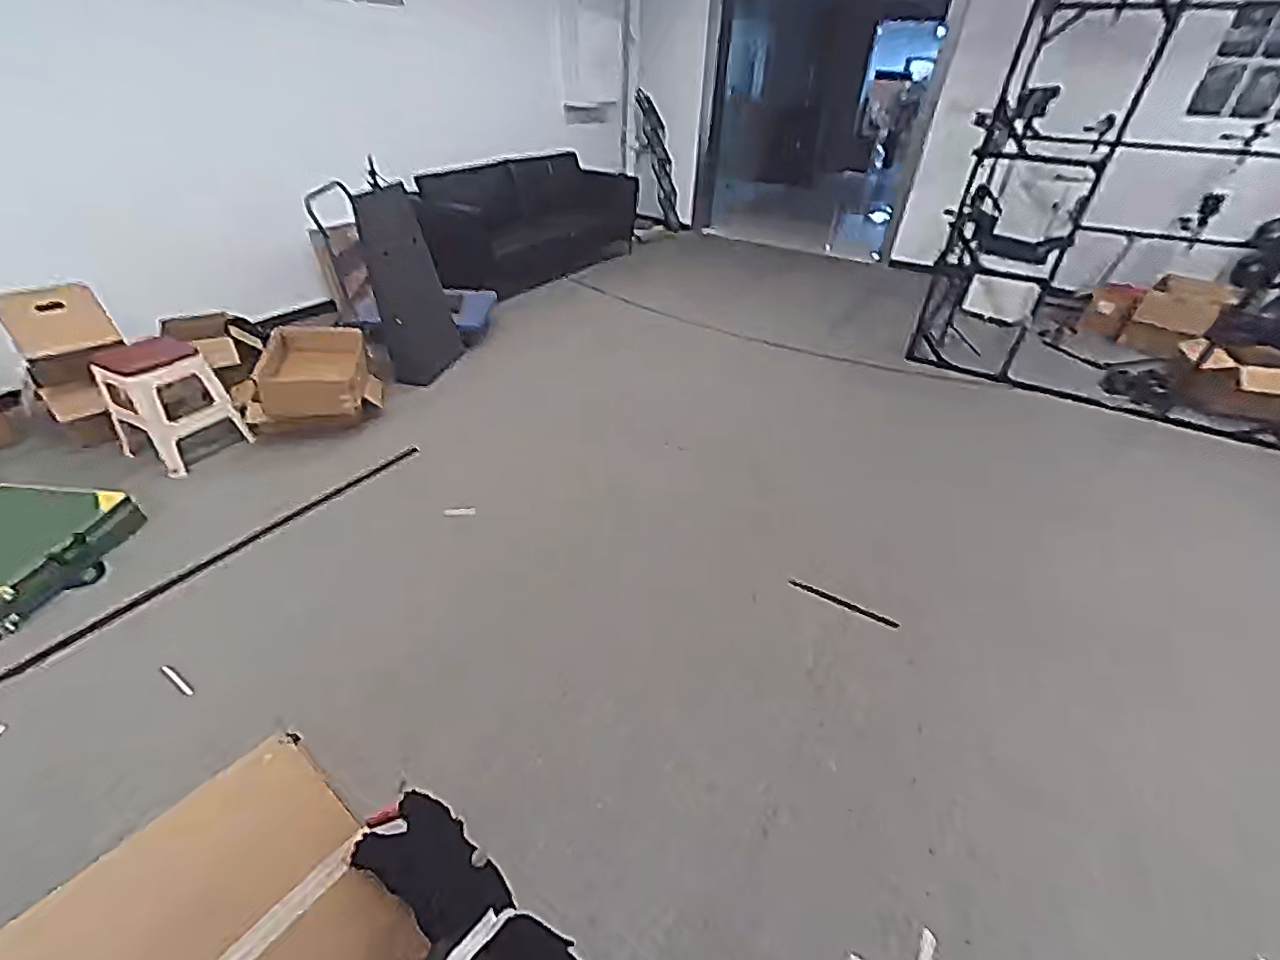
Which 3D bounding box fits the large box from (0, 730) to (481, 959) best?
[{"bbox_3d":[-0.390,0.540,0.480,0.320,0.320,0.408,31,42,24],"label":"large box"}]
